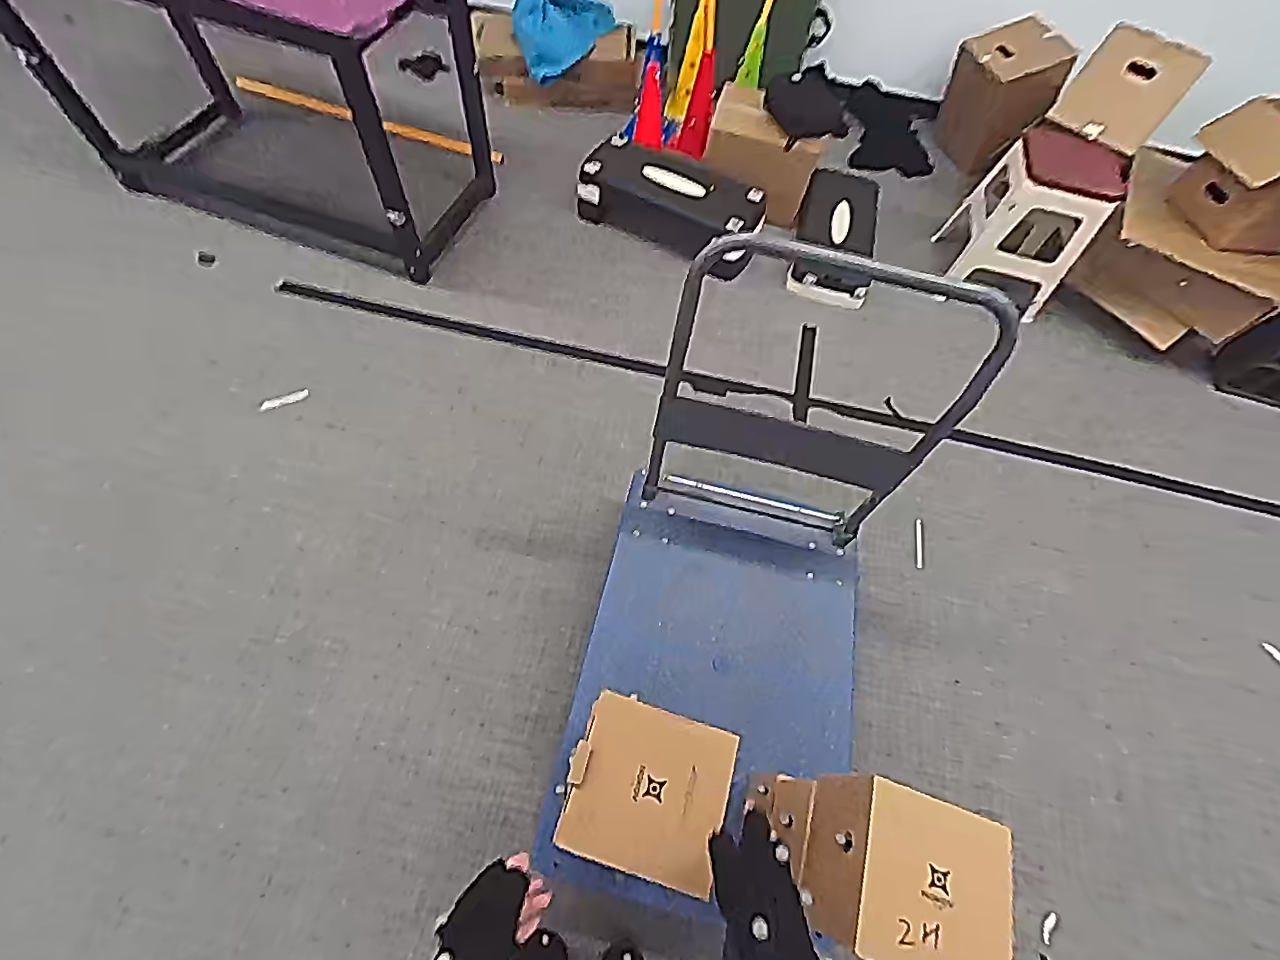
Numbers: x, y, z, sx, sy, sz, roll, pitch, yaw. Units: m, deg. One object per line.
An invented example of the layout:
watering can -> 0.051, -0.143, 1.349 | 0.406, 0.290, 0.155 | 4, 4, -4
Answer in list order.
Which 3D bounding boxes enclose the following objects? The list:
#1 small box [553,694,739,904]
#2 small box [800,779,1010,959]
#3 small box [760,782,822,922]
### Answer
small box -> 0.004, 0.389, 0.678 | 0.179, 0.176, 0.168 | 18, 62, 3
small box -> 0.312, 0.487, 0.658 | 0.168, 0.176, 0.179 | 20, 61, 5
small box -> 0.294, 0.568, 0.801 | 0.179, 0.176, 0.168 | 20, 61, 3
